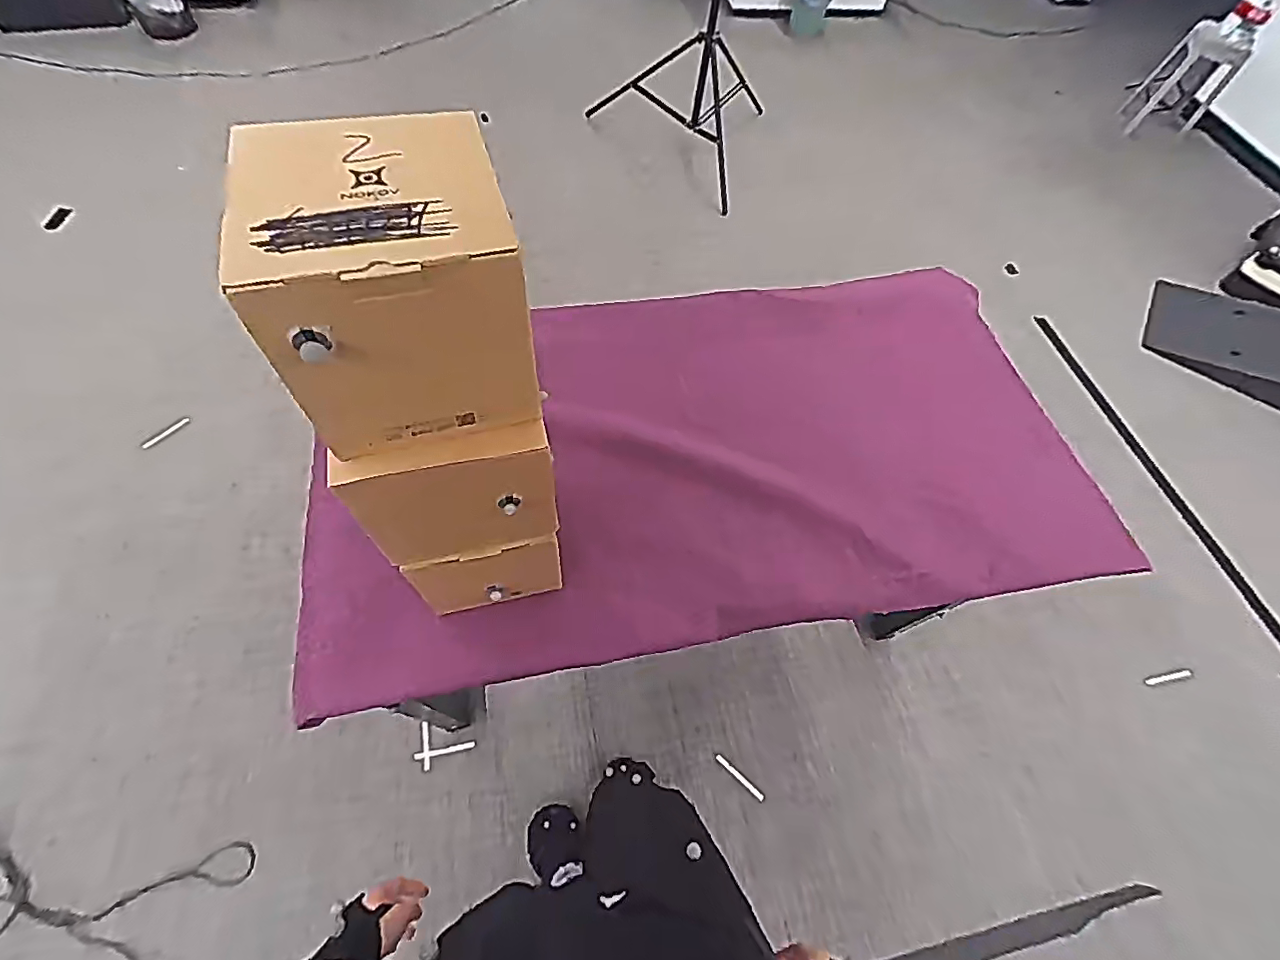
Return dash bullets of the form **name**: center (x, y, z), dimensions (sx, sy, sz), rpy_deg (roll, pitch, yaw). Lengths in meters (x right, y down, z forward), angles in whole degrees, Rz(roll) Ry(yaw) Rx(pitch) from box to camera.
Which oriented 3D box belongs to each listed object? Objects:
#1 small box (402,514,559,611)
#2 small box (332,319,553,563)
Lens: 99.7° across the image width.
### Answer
- **small box**: center (-0.200, 0.047, 0.690), dimensions (0.168, 0.176, 0.179), rpy_deg (-11, 62, -11)
- **small box**: center (-0.188, -0.034, 0.550), dimensions (0.179, 0.176, 0.168), rpy_deg (-12, 61, -11)
